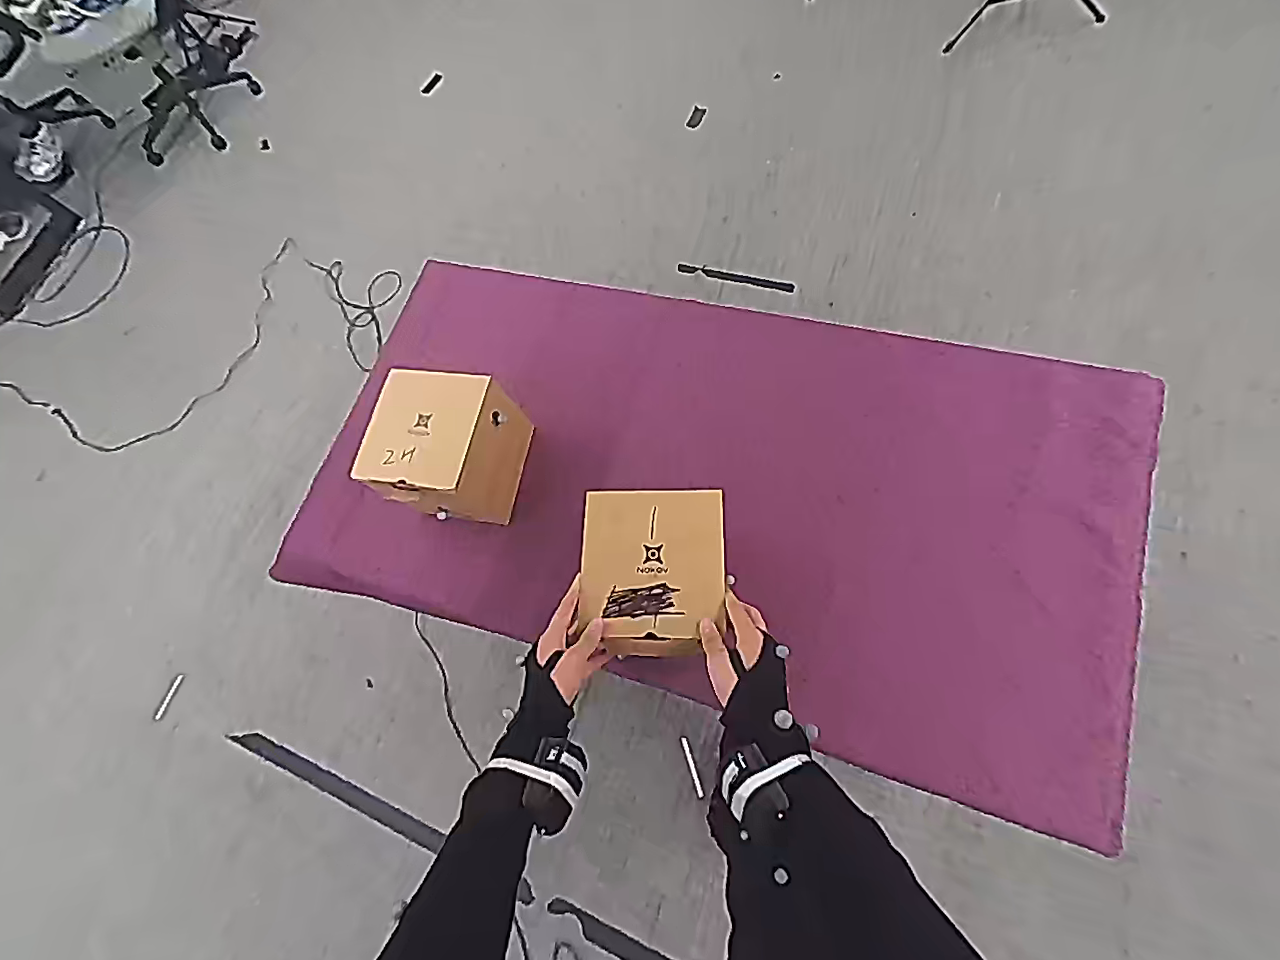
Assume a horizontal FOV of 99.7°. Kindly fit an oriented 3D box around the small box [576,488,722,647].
[{"bbox_3d":[0.022,0.120,0.698,0.168,0.176,0.179,0,69,7],"label":"small box"}]

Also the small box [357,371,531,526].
[{"bbox_3d":[-0.283,-0.043,0.826,0.168,0.176,0.179,7,72,14],"label":"small box"}]
